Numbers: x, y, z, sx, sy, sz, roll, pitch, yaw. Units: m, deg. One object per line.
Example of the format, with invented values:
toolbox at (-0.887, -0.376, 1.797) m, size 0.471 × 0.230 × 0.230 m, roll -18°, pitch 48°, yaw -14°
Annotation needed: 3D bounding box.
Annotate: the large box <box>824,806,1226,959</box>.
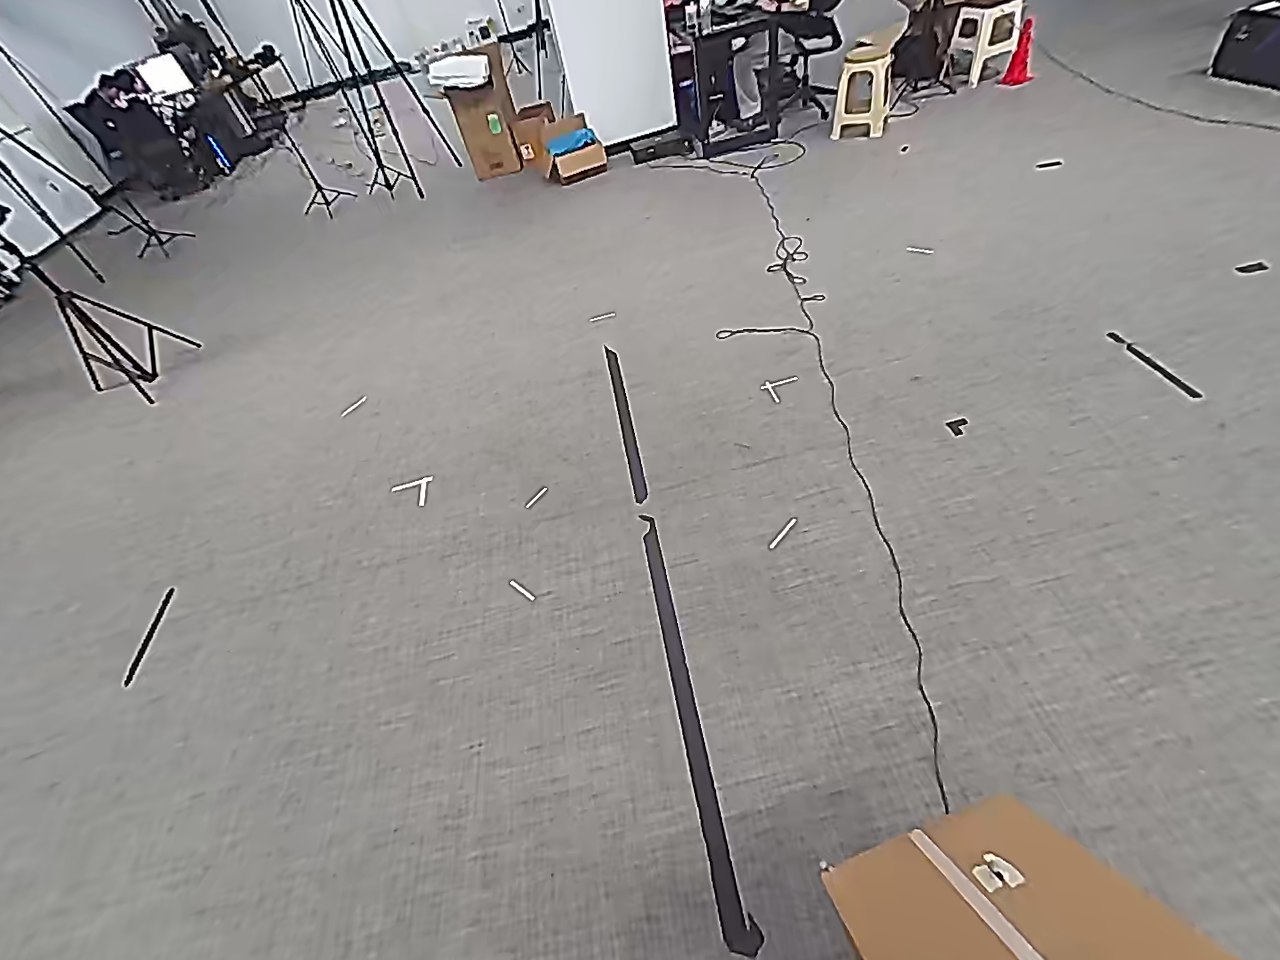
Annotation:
large box at (0.475, 0.669, 0.610) m, size 0.320 × 0.408 × 0.320 m, roll -20°, pitch 84°, yaw -3°
